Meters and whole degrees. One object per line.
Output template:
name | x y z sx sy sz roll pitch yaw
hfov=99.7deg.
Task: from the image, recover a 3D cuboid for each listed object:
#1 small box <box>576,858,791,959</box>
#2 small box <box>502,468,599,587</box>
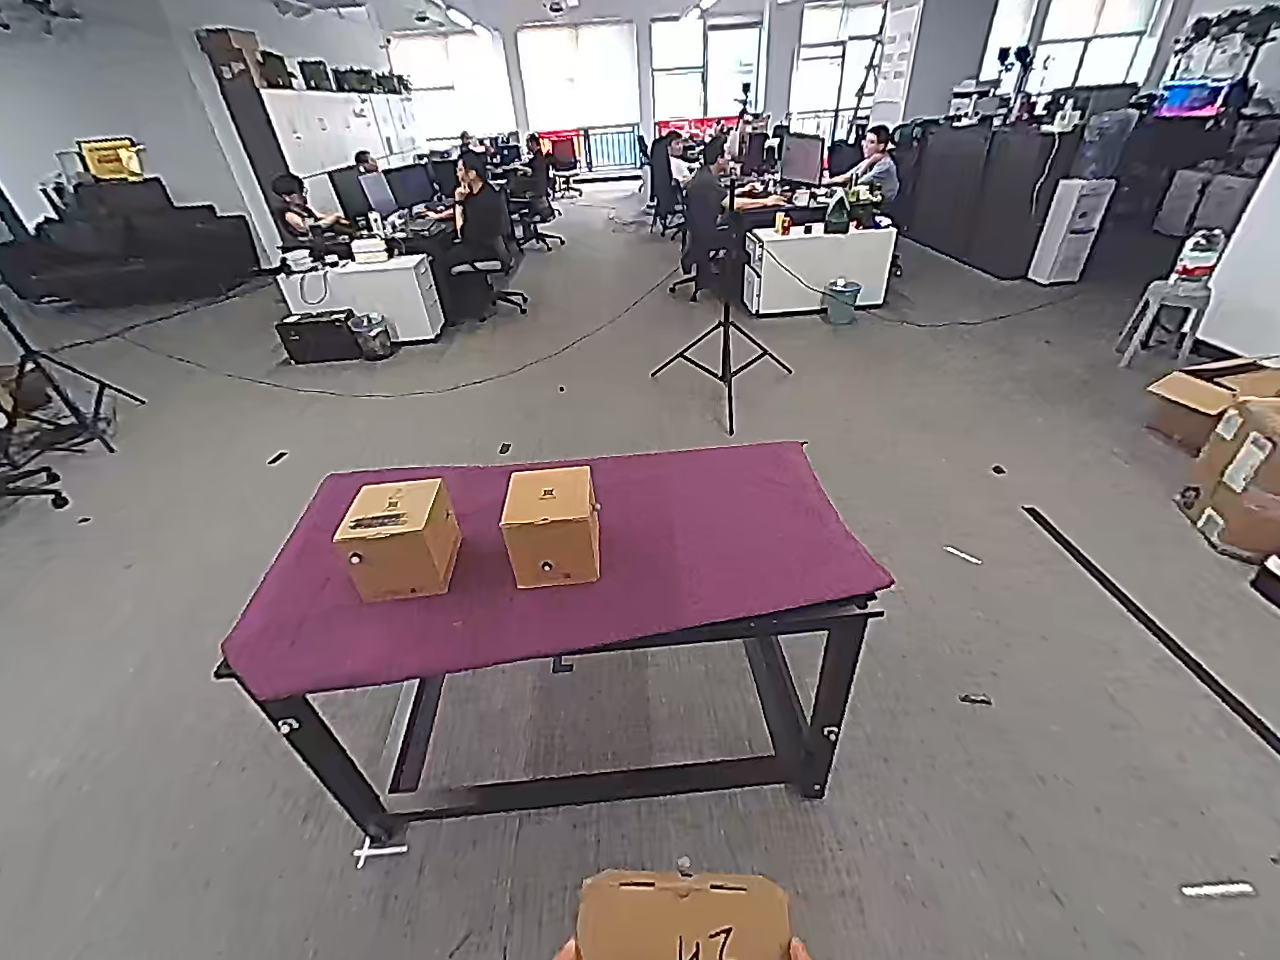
small box | 0.039 0.433 0.457 0.168 0.176 0.179 -2 56 5
small box | -0.174 0.096 1.109 0.168 0.176 0.179 -5 35 -1
